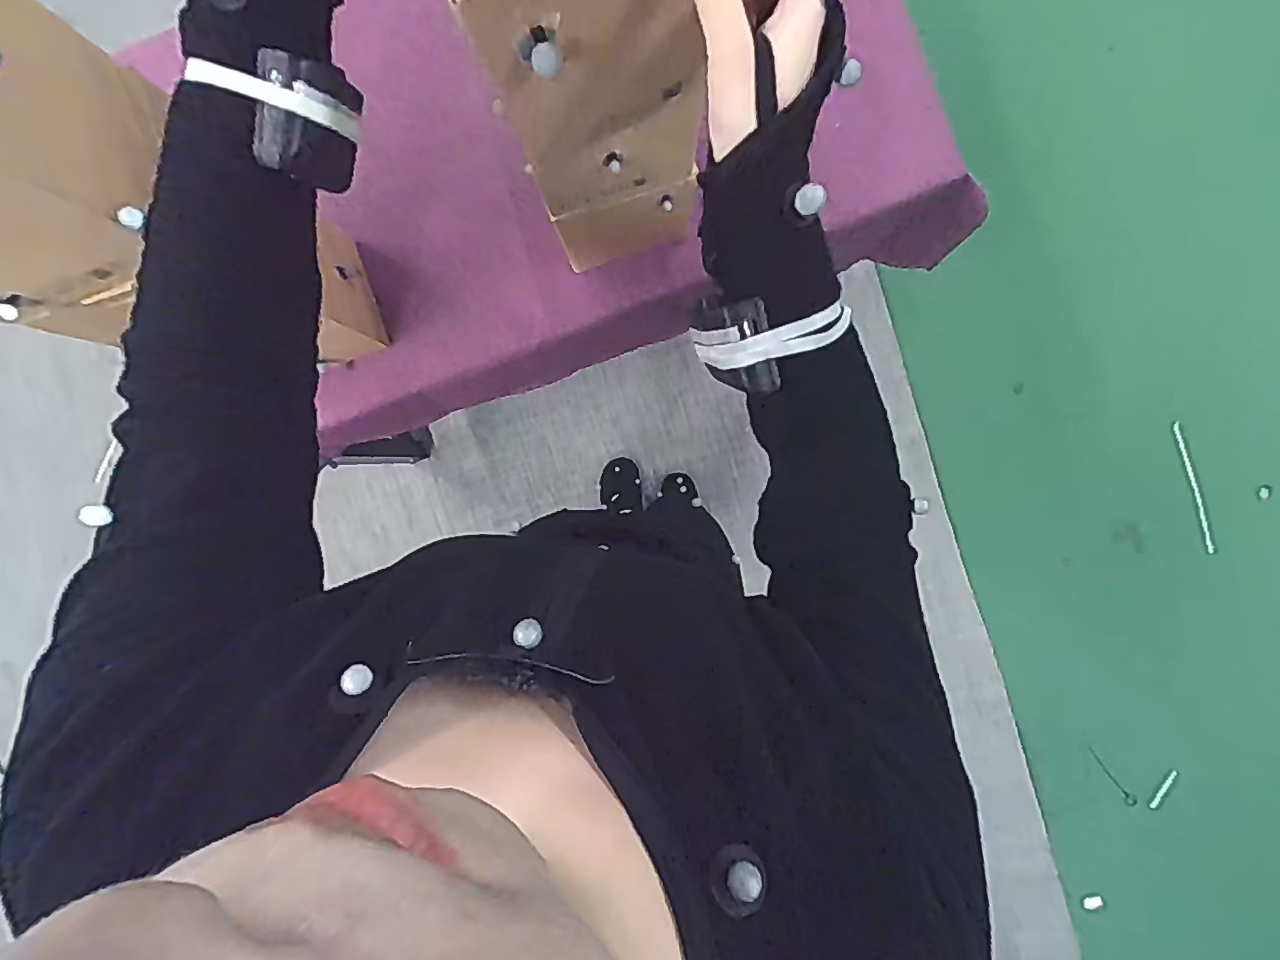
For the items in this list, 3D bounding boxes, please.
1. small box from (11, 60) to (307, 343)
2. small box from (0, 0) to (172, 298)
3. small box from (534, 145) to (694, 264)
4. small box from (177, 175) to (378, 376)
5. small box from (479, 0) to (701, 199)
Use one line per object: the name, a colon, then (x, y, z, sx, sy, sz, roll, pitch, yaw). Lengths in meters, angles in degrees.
small box: (-0.470, -0.246, 0.532, 0.168, 0.176, 0.179, -17, 91, 1)
small box: (-0.481, -0.243, 0.368, 0.168, 0.176, 0.179, -20, 90, 1)
small box: (-0.040, -0.398, 0.681, 0.179, 0.176, 0.168, -17, 92, 2)
small box: (-0.466, -0.247, 0.695, 0.179, 0.176, 0.168, -18, 91, 1)
small box: (-0.046, -0.398, 0.516, 0.168, 0.176, 0.179, -15, 92, 1)
